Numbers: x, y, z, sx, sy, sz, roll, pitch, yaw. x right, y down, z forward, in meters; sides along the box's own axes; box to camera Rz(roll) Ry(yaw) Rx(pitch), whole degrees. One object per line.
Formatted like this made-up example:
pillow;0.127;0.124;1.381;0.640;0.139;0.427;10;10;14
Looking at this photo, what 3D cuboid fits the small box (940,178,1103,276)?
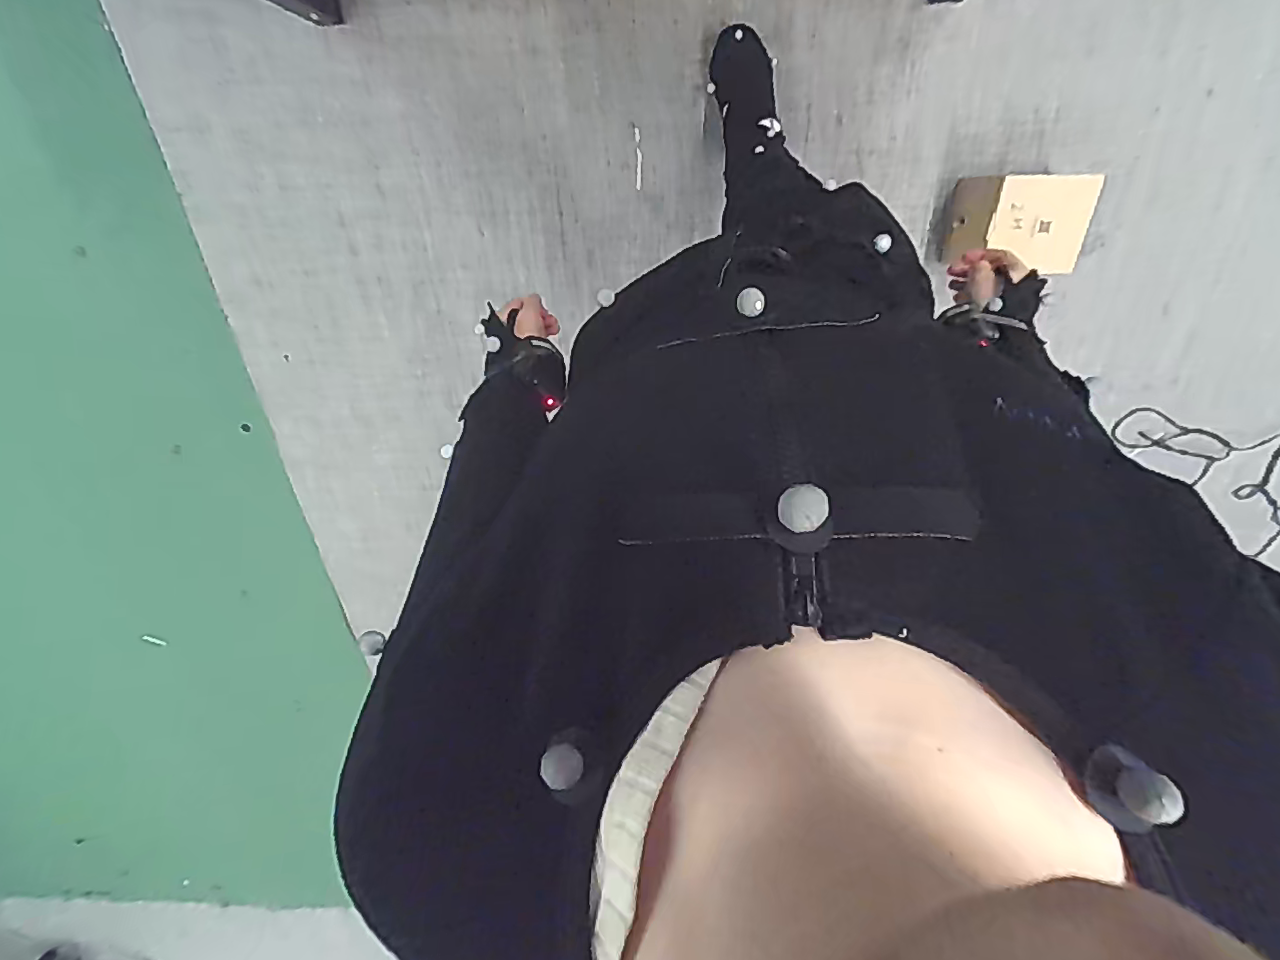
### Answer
small box;0.728;-0.495;1.056;0.179;0.176;0.168;0;117;2
